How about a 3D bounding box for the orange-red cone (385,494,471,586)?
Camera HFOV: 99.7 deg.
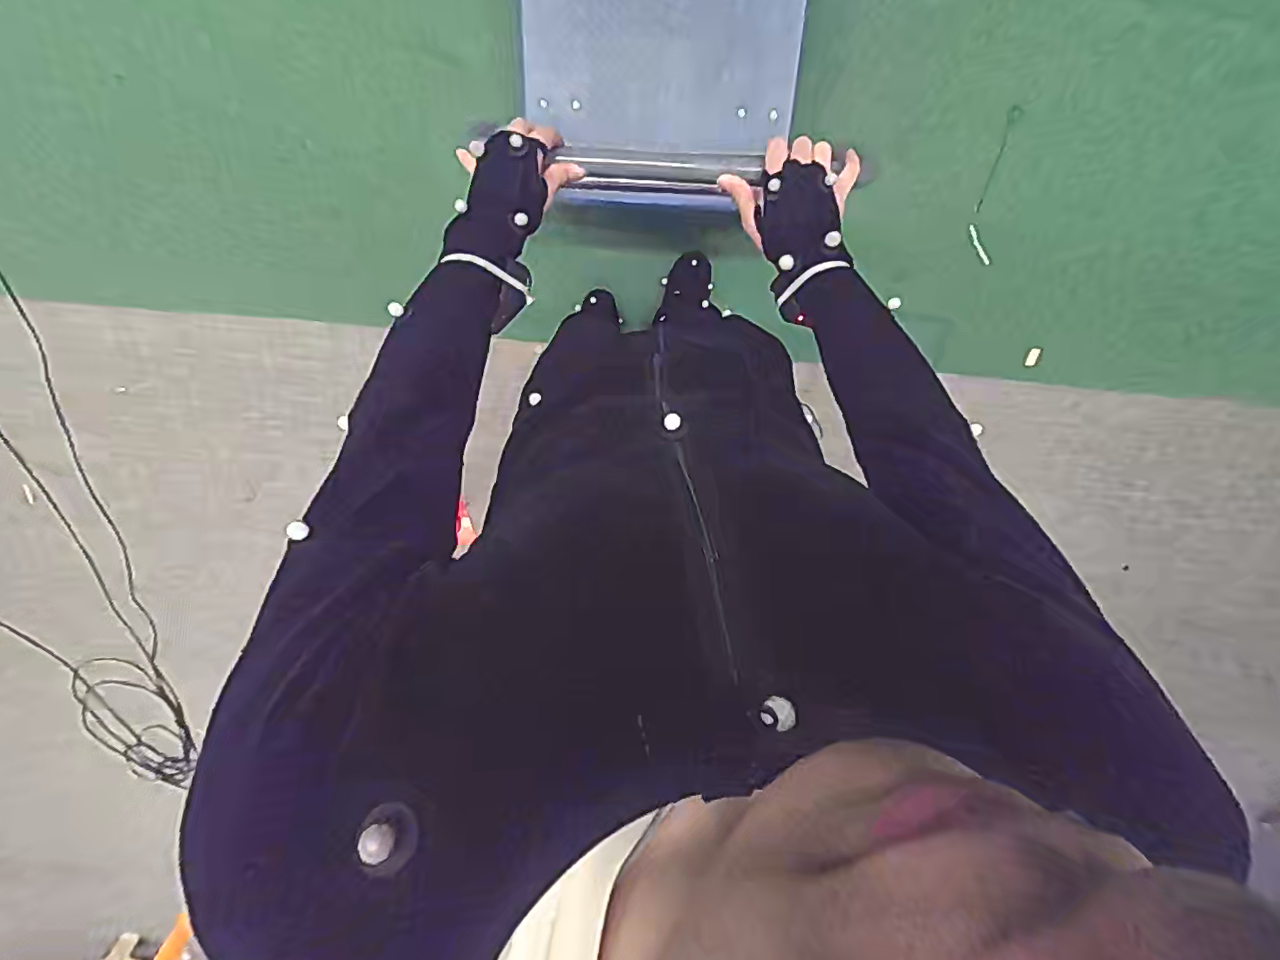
[{"bbox_3d":[-0.661,0.194,1.594,0.199,0.360,0.198,-8,114,5],"label":"orange-red cone"}]
